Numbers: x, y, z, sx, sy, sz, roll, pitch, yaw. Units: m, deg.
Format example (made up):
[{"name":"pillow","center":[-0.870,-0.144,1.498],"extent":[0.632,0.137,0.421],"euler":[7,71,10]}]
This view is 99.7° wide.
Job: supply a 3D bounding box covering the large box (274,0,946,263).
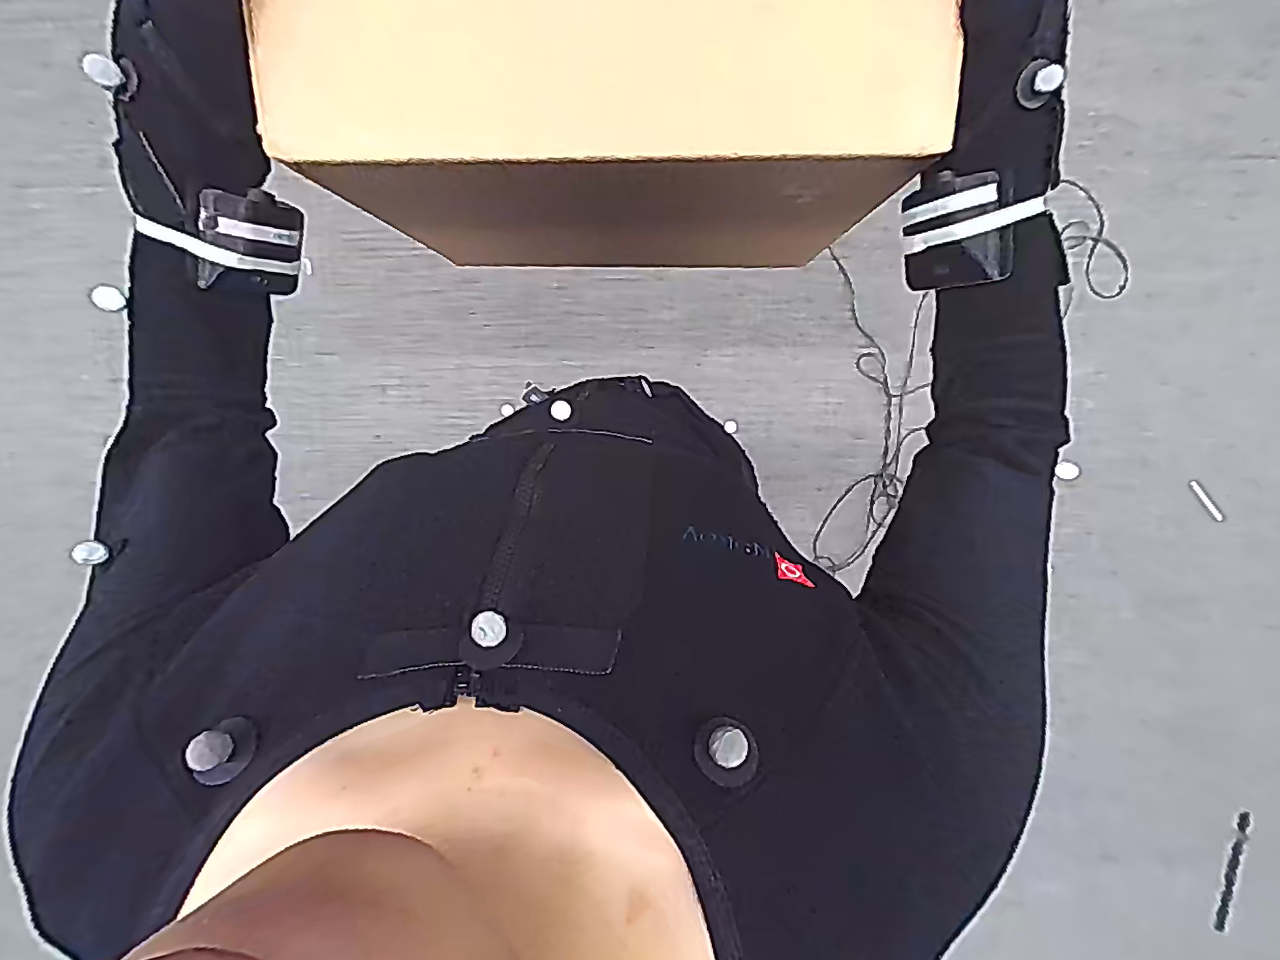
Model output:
[{"name":"large box","center":[-0.018,-0.380,0.452],"extent":[0.408,0.320,0.320],"euler":[0,101,1]}]
